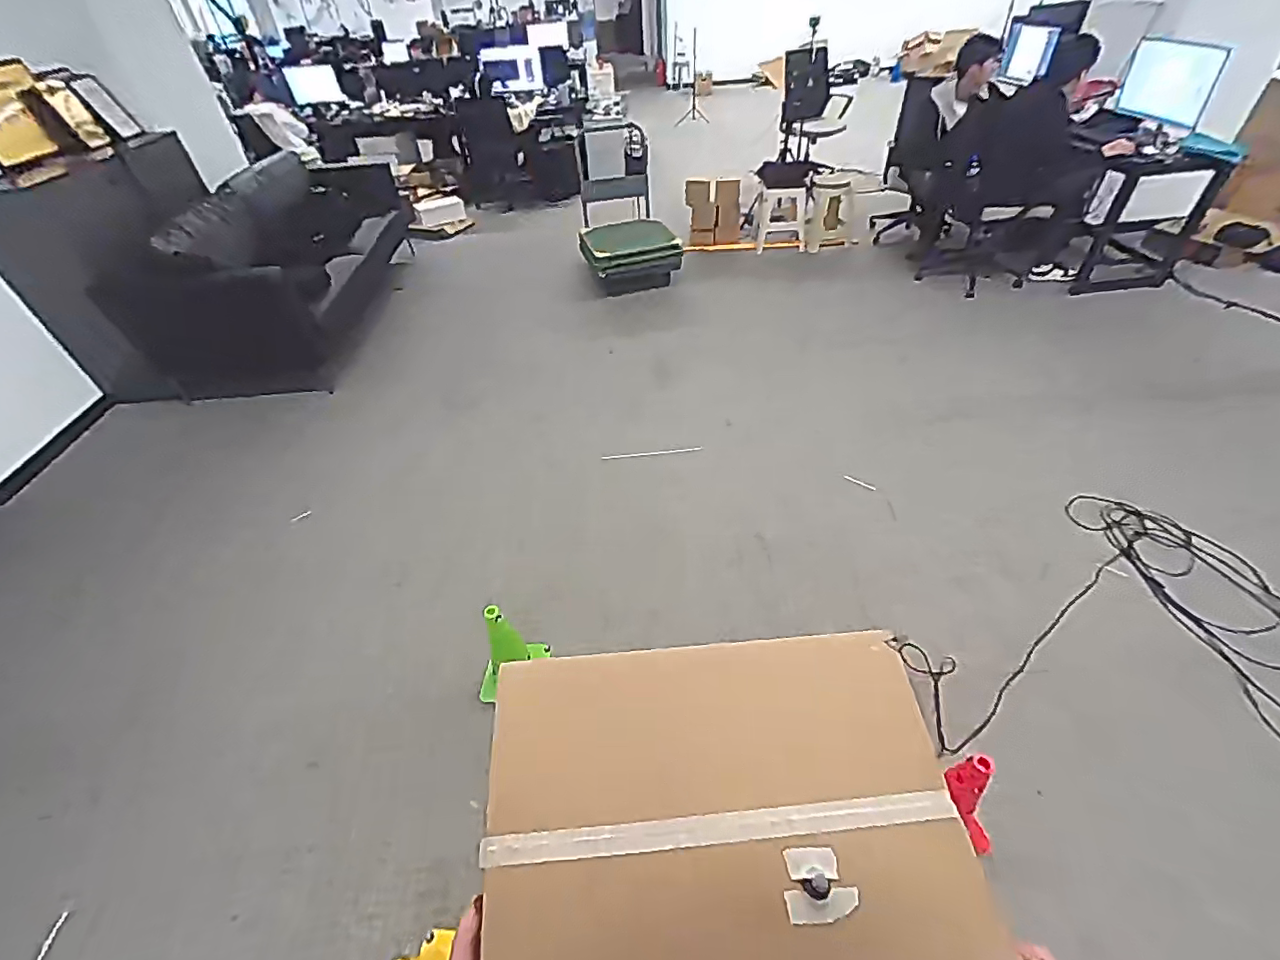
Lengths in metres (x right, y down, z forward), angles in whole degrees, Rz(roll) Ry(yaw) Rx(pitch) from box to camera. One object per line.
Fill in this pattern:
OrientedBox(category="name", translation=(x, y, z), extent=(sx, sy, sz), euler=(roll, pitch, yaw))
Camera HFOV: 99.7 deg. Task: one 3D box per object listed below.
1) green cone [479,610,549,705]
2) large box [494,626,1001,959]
OrientedBox(category="green cone", translation=(-0.416, 0.504, 1.628), extent=(0.200, 0.368, 0.202), euler=(-1, 44, 4))
OrientedBox(category="large box", translation=(0.071, 0.383, 0.599), extent=(0.408, 0.320, 0.320), euler=(-4, 55, -3))
